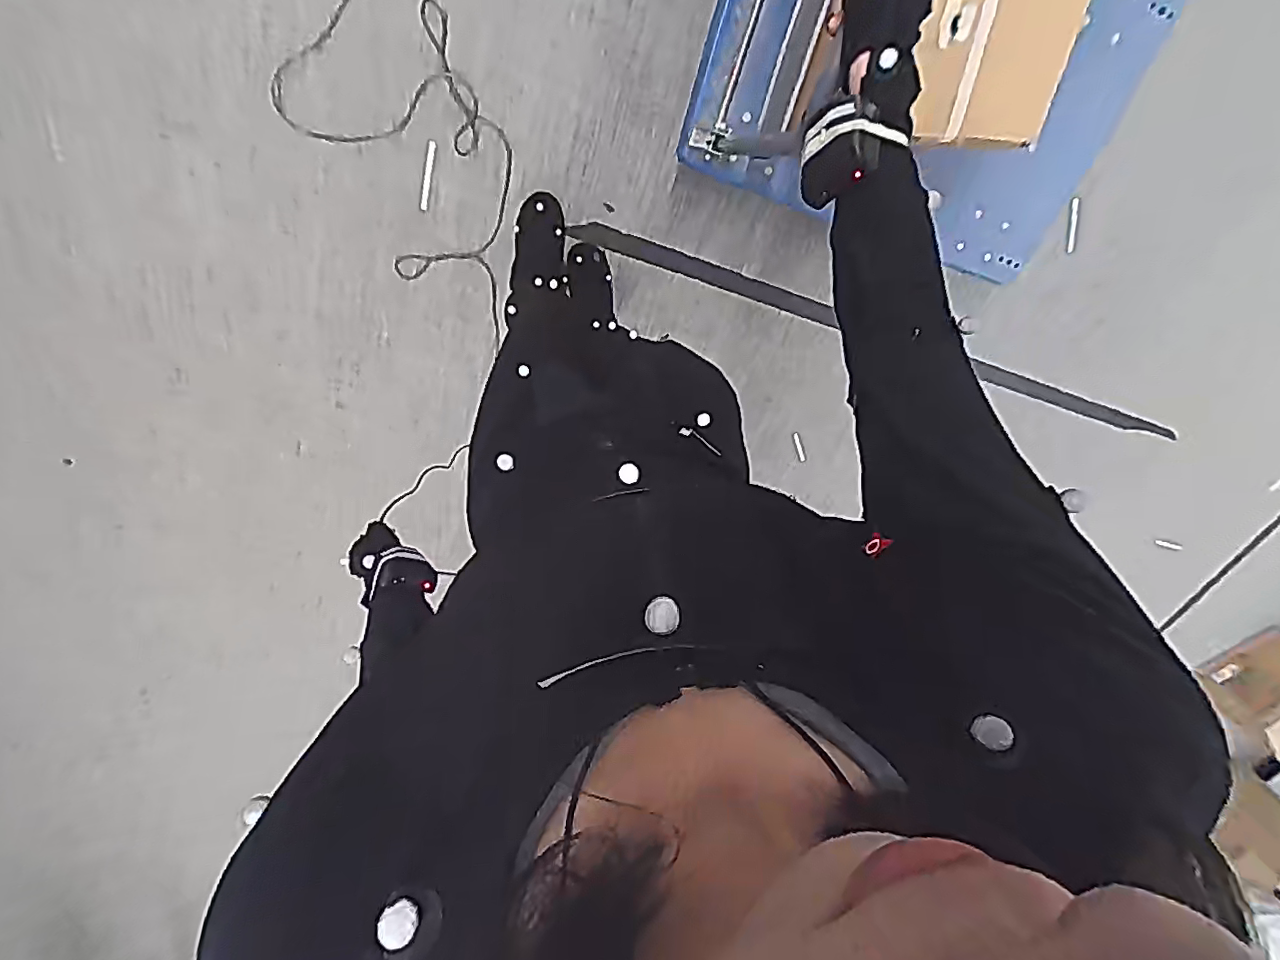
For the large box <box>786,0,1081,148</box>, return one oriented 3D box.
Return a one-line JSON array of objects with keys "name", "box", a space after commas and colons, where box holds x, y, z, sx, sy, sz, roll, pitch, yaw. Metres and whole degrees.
[{"name": "large box", "box": [0.467, -0.783, 0.873, 0.320, 0.320, 0.408, -1, 122, -8]}]
